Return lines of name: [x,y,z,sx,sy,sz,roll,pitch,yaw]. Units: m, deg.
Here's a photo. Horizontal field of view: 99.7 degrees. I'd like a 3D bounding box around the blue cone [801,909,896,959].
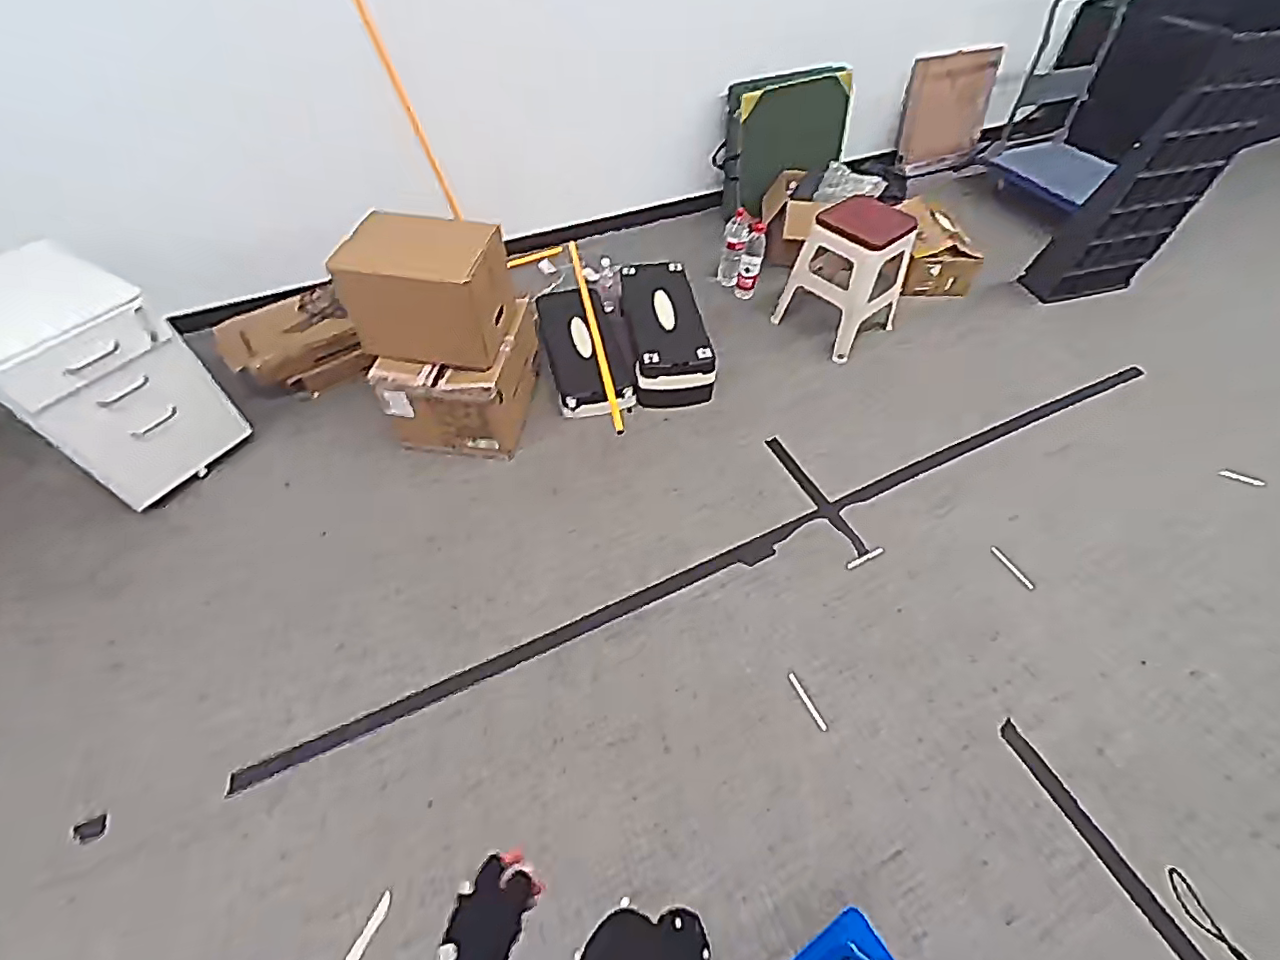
blue cone: [0.430,0.884,0.925,0.192,0.380,0.193,-25,56,-19]
